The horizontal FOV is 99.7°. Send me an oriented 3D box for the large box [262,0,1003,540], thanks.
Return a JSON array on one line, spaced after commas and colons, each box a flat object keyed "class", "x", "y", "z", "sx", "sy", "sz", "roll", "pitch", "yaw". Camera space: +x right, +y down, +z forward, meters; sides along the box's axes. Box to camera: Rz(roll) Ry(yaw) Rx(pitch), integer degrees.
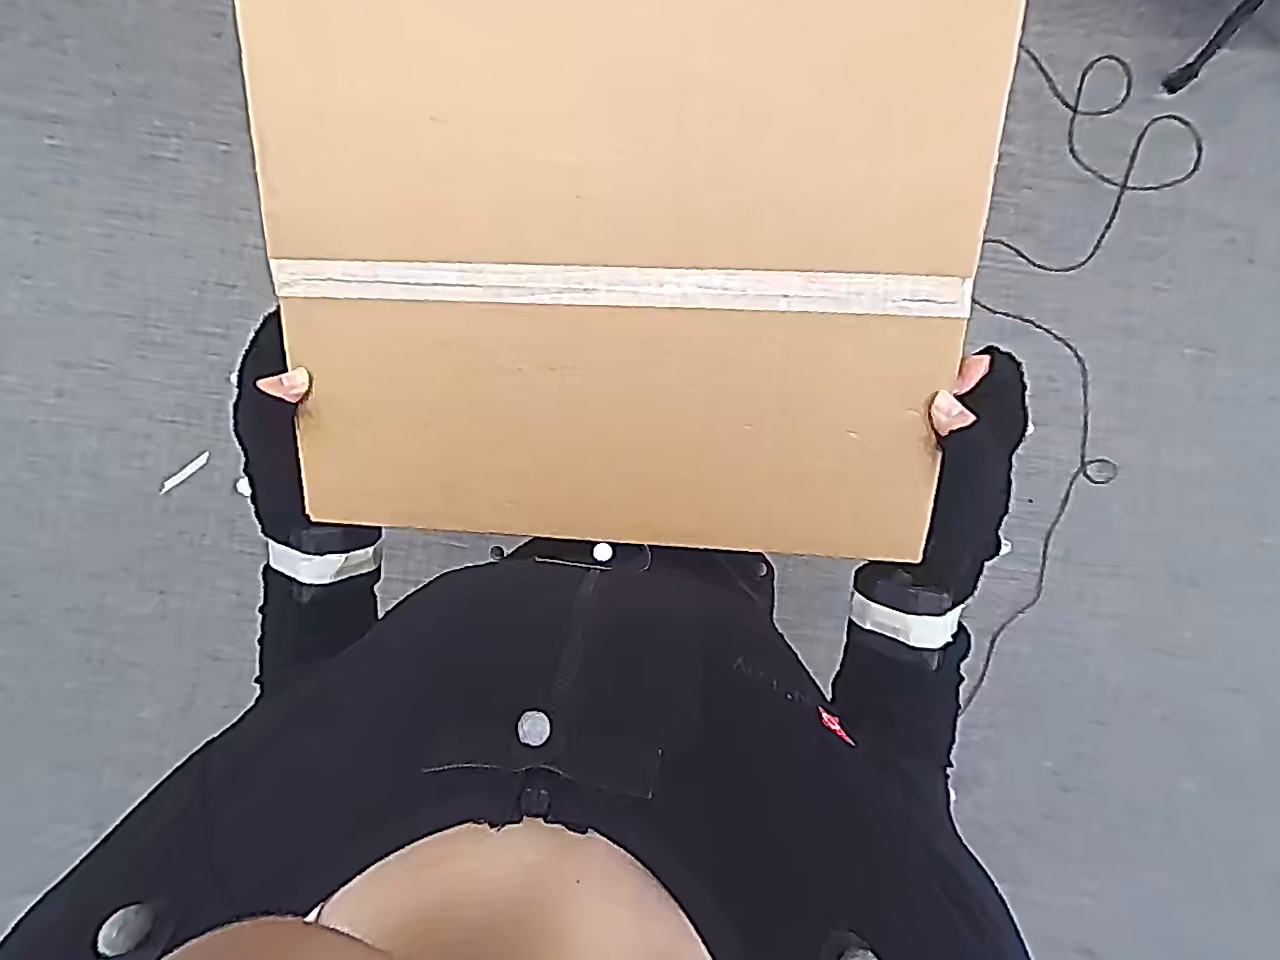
[{"class": "large box", "x": -0.007, "y": -0.154, "z": 0.466, "sx": 0.408, "sy": 0.320, "sz": 0.320, "roll": 3, "pitch": 106, "yaw": 4}]
